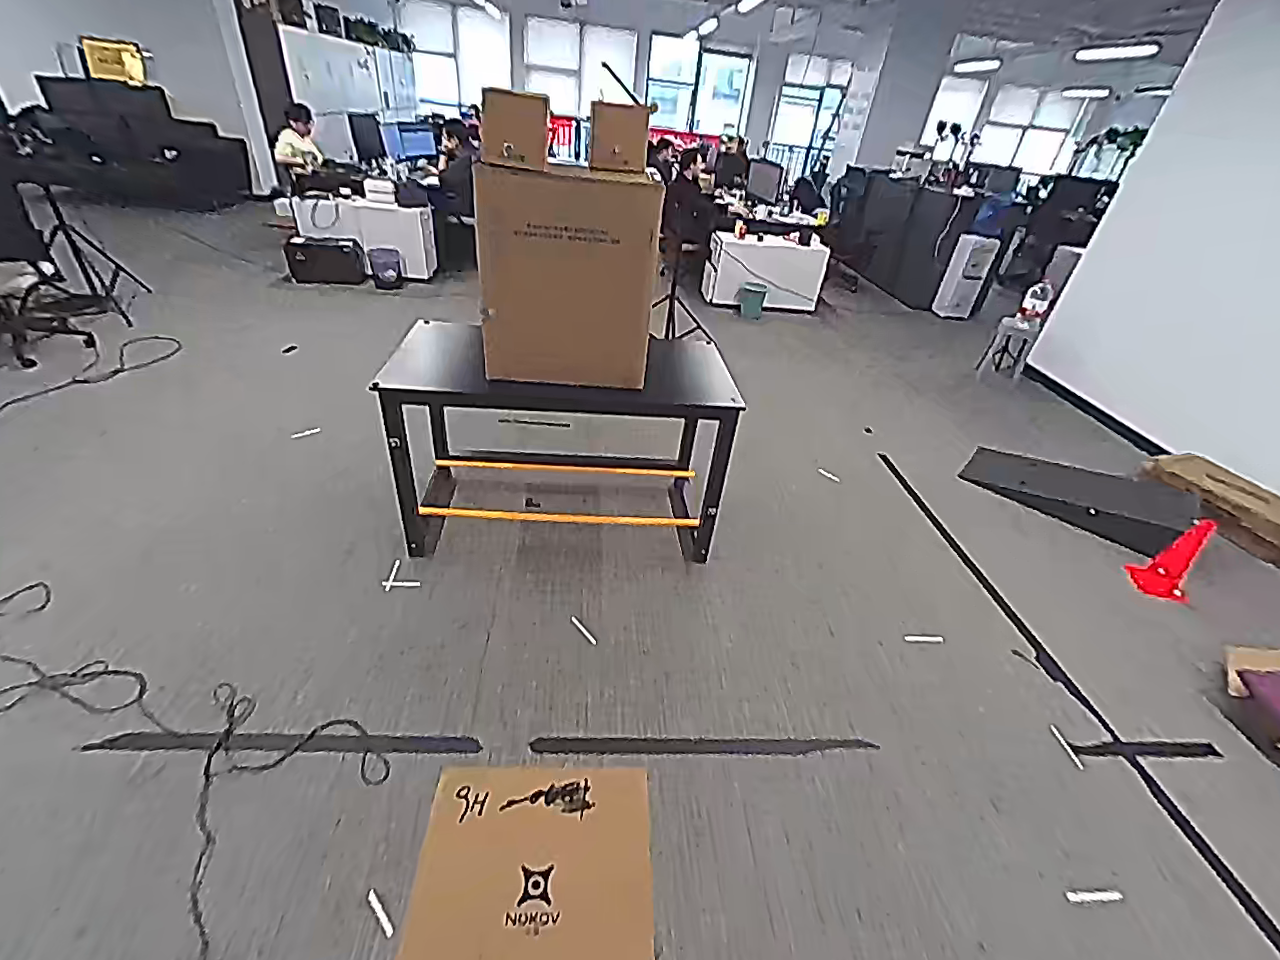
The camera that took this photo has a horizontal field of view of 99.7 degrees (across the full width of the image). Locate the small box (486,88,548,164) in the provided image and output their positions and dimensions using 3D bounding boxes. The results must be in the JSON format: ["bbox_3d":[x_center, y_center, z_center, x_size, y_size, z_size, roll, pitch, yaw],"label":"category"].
[{"bbox_3d":[-0.366,-1.057,1.621,0.168,0.176,0.179,2,33,-9],"label":"small box"}]

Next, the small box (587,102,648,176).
[{"bbox_3d":[-0.073,-1.027,1.630,0.168,0.176,0.179,0,34,-8],"label":"small box"}]
